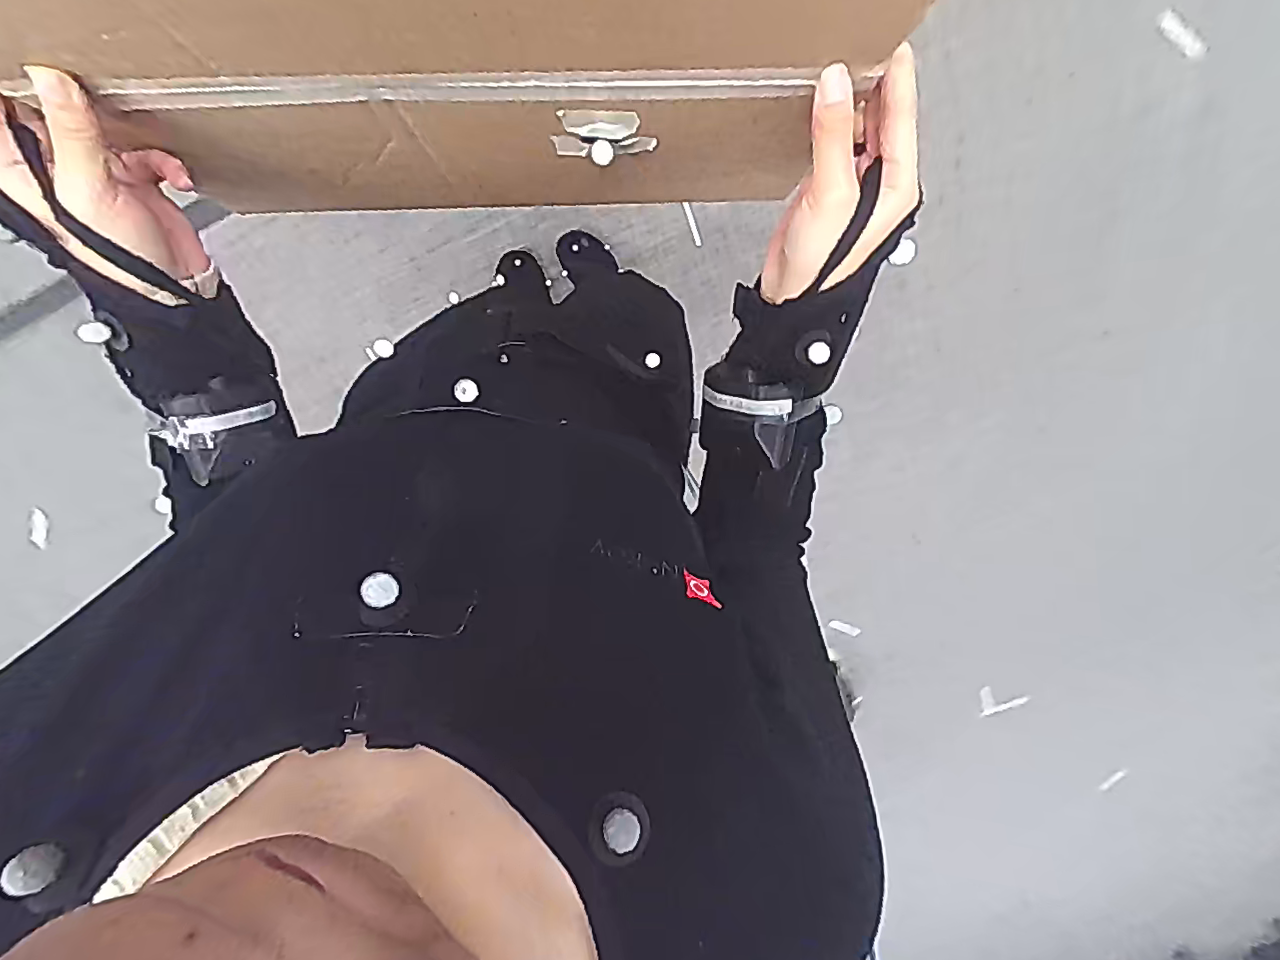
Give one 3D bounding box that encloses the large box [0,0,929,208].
[{"bbox_3d":[-0.091,-0.342,0.238,0.408,0.320,0.320,-3,98,-2],"label":"large box"}]
